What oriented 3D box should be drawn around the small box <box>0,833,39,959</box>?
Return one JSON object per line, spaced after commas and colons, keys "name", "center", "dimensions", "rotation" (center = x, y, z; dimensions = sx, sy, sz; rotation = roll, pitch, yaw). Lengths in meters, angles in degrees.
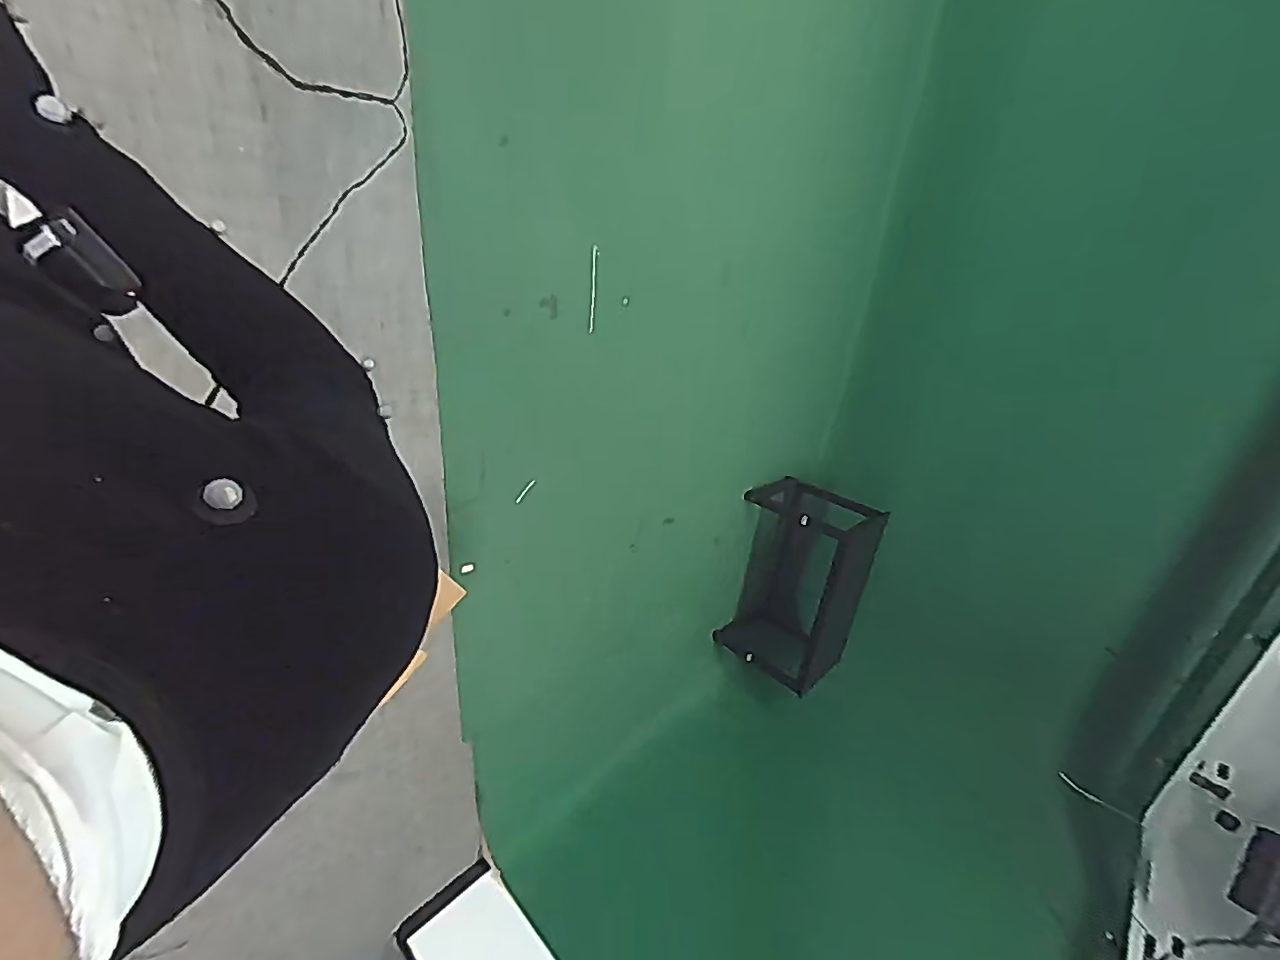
{"name": "small box", "center": [-1.263, 0.810, 1.014], "dimensions": [0.168, 0.176, 0.179], "rotation": [-7, 114, -47]}
